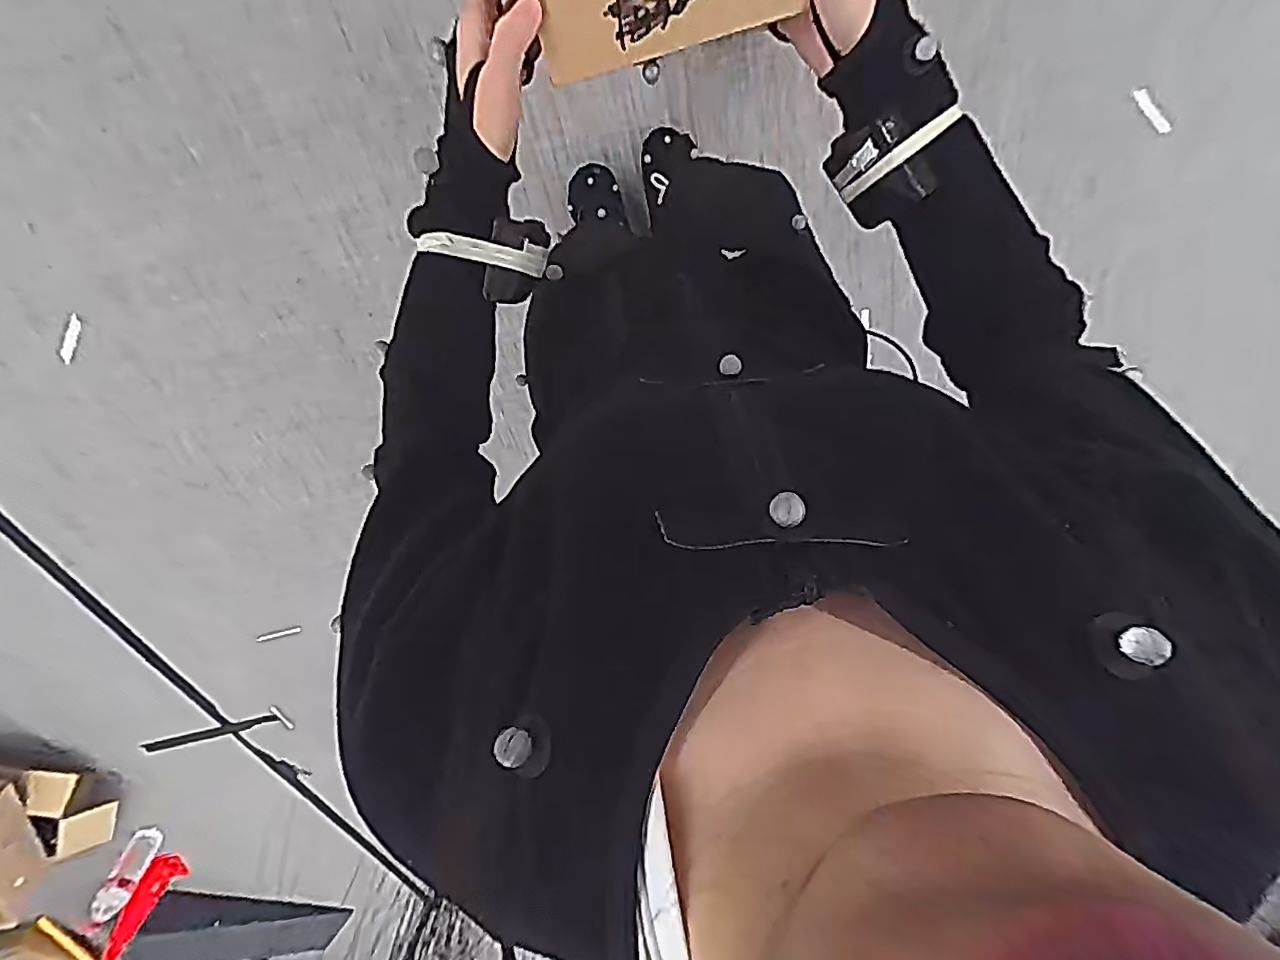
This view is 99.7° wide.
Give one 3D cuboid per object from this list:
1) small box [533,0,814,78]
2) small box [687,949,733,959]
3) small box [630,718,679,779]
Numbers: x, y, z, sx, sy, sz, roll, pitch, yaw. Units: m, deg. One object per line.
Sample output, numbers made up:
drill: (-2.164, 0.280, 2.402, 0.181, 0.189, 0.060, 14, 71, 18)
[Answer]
small box: (0.001, -0.381, 0.332, 0.168, 0.176, 0.179, -12, 133, 7)
small box: (0.242, 1.710, 1.804, 0.179, 0.176, 0.168, -13, 124, 0)
small box: (0.056, 1.131, 2.283, 0.179, 0.176, 0.168, -1, 121, -9)
